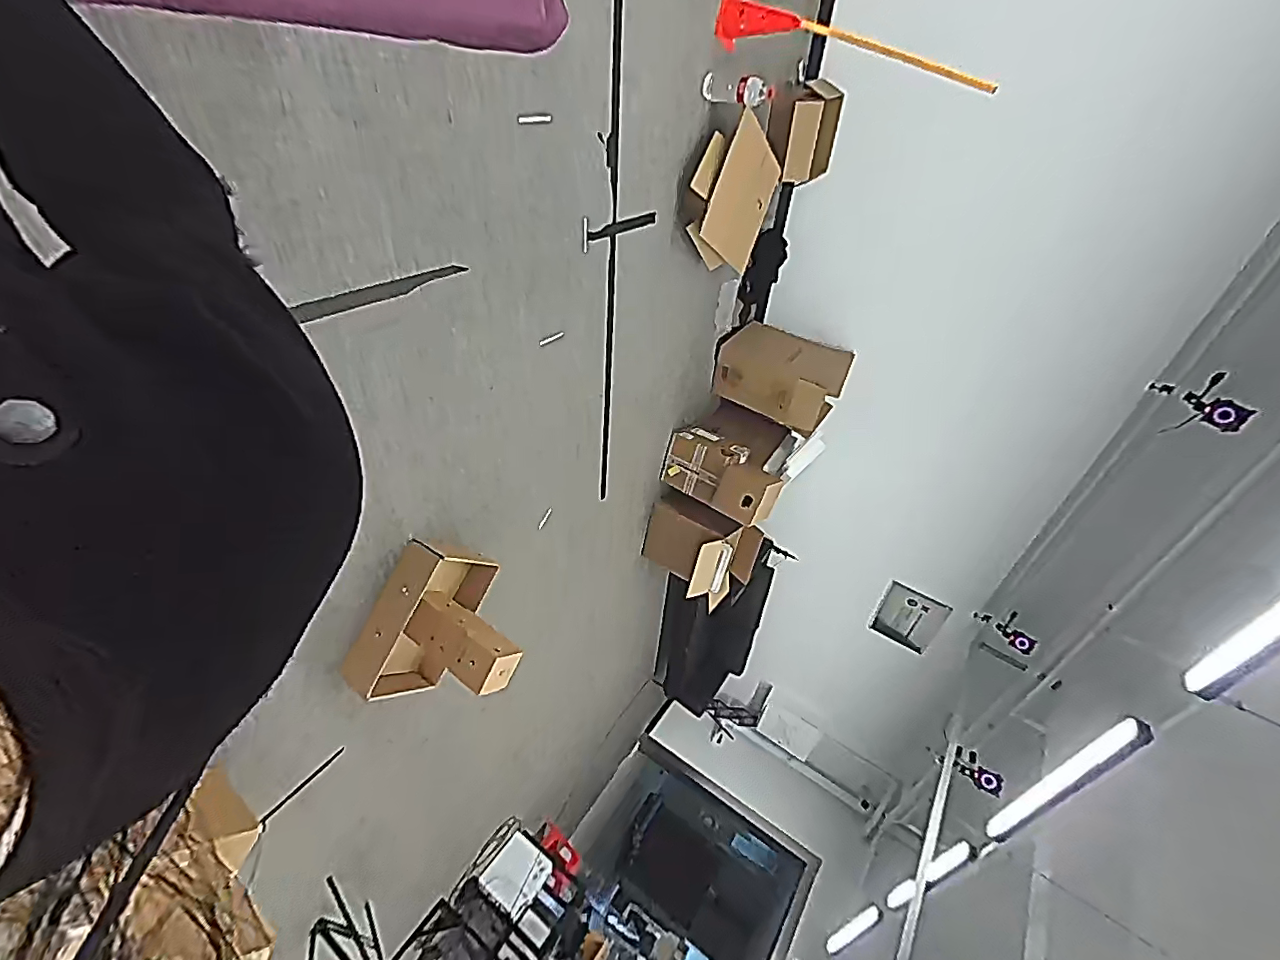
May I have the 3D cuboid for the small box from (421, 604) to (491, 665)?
[{"bbox_3d":[-0.749,0.620,2.192,0.168,0.176,0.179,-63,158,2],"label":"small box"}]

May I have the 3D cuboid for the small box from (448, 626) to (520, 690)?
[{"bbox_3d":[-0.616,0.695,2.125,0.168,0.176,0.179,-62,156,3],"label":"small box"}]

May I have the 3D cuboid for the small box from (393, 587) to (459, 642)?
[{"bbox_3d":[-0.884,0.557,2.253,0.168,0.176,0.179,-62,156,-2],"label":"small box"}]

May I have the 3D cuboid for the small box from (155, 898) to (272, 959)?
[{"bbox_3d":[-1.116,1.235,1.399,0.179,0.176,0.168,-61,156,-6],"label":"small box"}]
